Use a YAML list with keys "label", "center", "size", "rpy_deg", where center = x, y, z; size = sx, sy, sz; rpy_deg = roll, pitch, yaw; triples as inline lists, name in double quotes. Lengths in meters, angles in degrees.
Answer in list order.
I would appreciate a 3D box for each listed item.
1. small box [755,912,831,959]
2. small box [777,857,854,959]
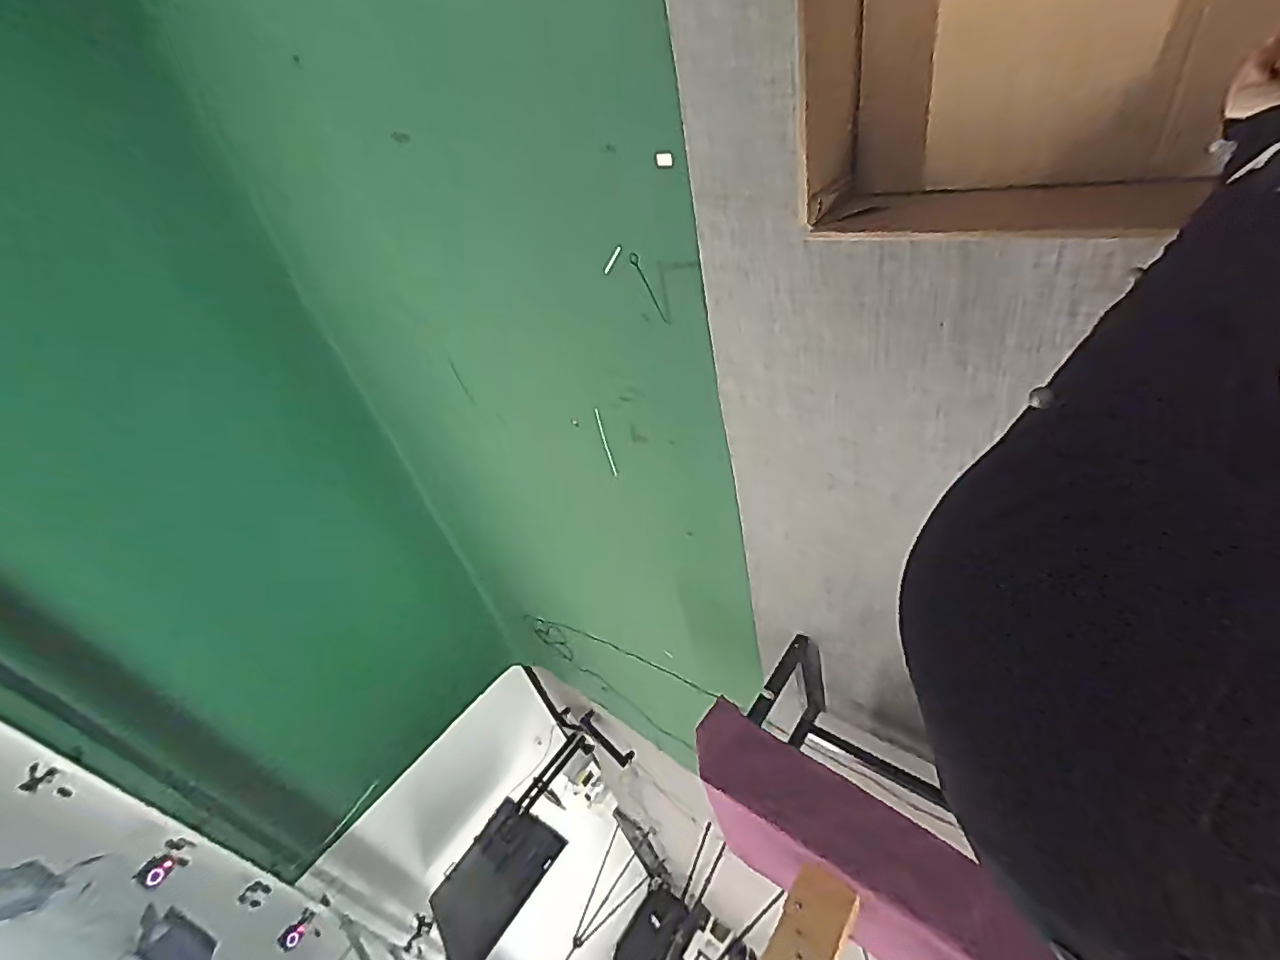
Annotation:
- label: "small box"
  center: [0.442, 1.412, 1.575]
  size: [0.168, 0.176, 0.179]
  rpy_deg: [20, 139, 37]
- label: "small box"
  center: [0.544, 1.314, 1.660]
  size: [0.179, 0.176, 0.168]
  rpy_deg: [19, 138, 38]
